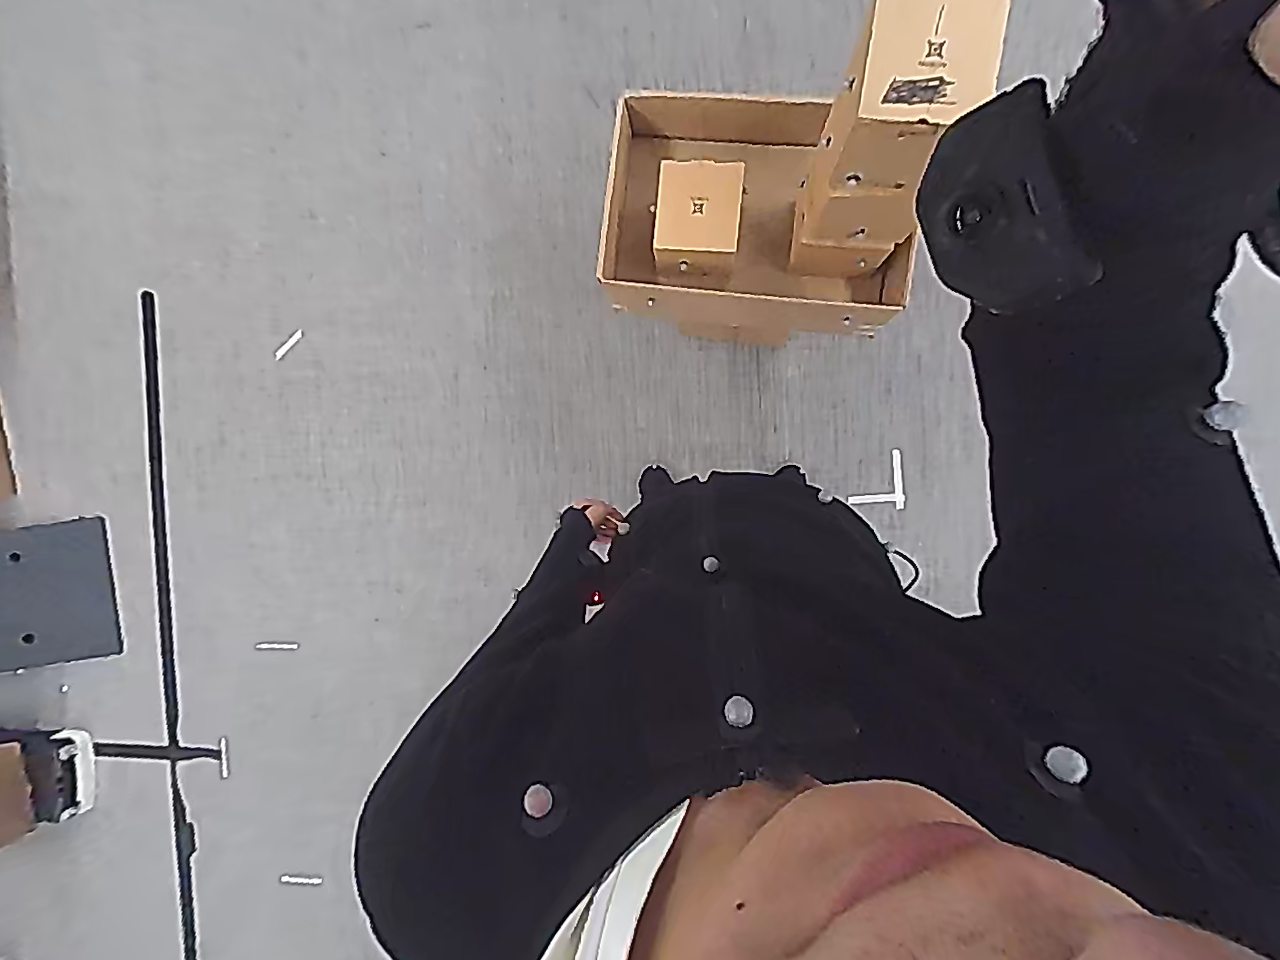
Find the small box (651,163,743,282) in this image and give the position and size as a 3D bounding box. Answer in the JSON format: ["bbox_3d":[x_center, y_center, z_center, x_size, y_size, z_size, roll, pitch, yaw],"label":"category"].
[{"bbox_3d":[0.120,-0.528,1.129,0.168,0.176,0.179,6,91,6],"label":"small box"}]

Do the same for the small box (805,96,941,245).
[{"bbox_3d":[0.397,-0.521,0.930,0.179,0.176,0.168,5,91,5],"label":"small box"}]

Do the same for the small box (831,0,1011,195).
[{"bbox_3d":[0.380,-0.534,0.766,0.168,0.176,0.179,9,91,6],"label":"small box"}]
